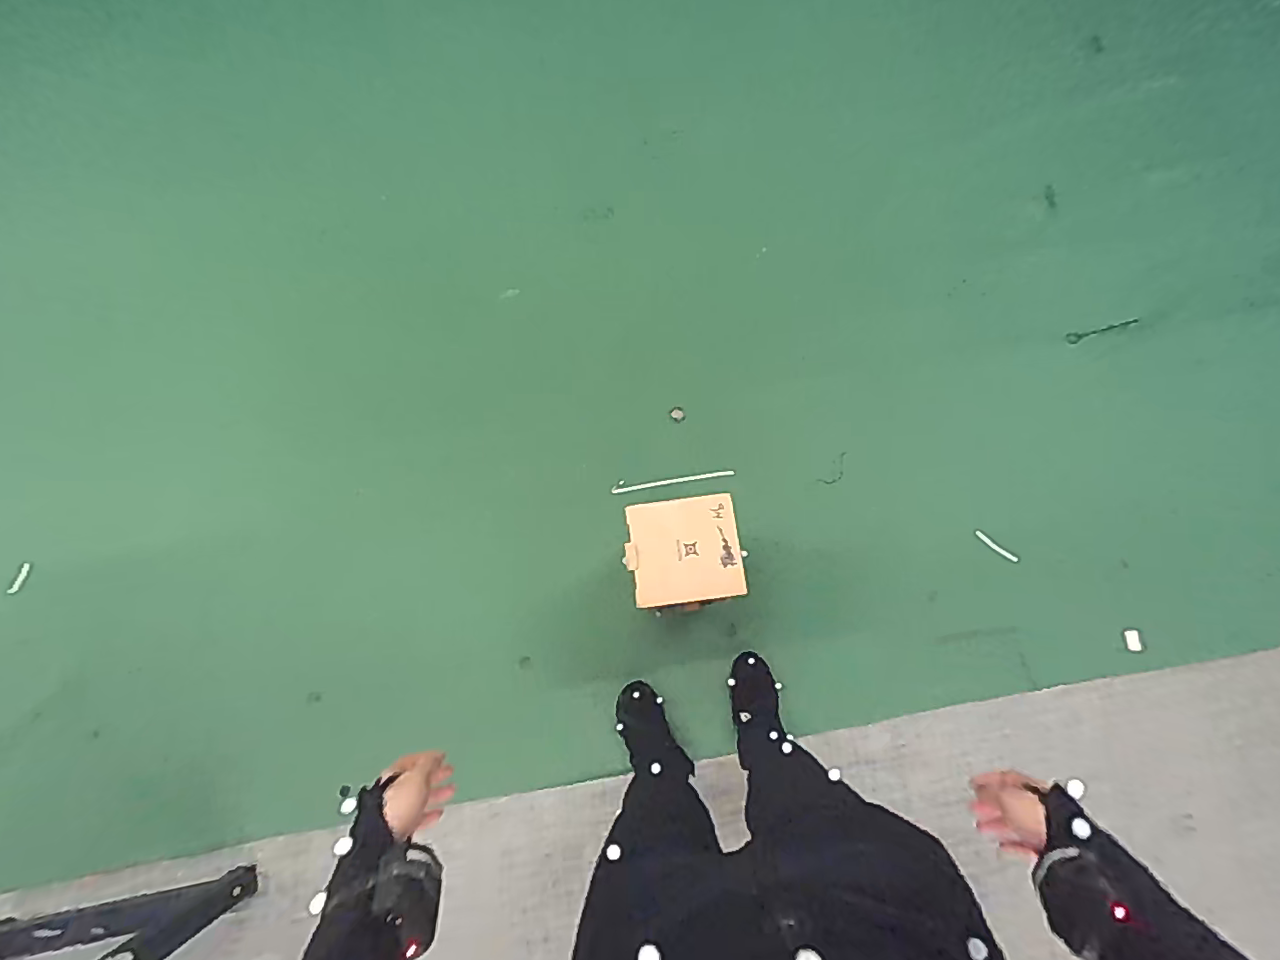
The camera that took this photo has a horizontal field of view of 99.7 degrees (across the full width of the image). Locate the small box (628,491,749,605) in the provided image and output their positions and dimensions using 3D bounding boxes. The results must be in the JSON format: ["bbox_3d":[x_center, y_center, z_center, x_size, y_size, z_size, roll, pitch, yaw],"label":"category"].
[{"bbox_3d":[0.078,0.124,0.931,0.179,0.176,0.168,-7,77,-1],"label":"small box"}]
